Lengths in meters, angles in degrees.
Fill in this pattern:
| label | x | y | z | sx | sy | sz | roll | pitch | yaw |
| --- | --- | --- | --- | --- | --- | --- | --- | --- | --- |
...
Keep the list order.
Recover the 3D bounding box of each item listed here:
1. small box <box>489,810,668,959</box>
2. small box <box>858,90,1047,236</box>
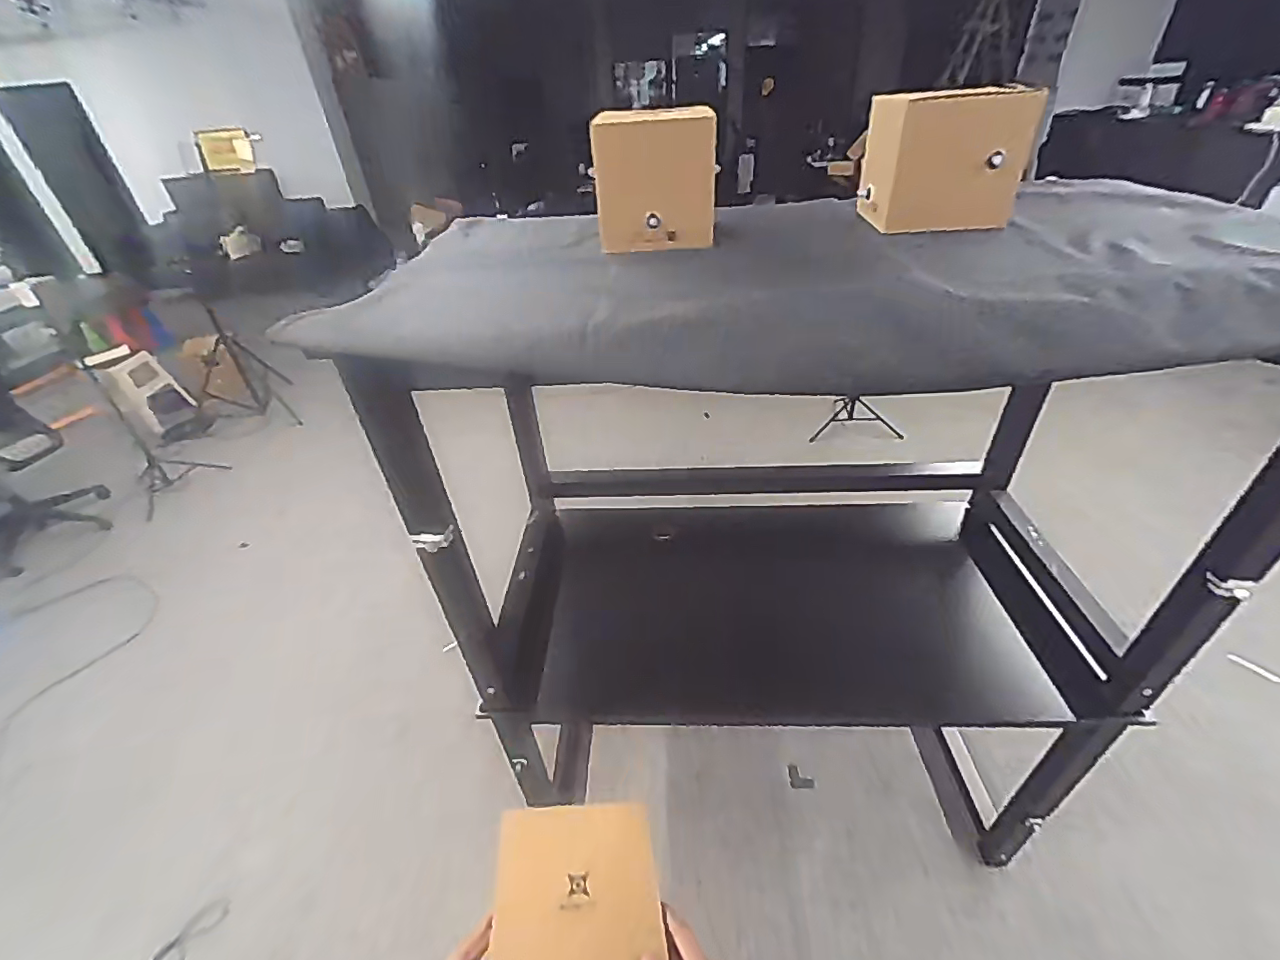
| label | x | y | z | sx | sy | sz | roll | pitch | yaw |
| --- | --- | --- | --- | --- | --- | --- | --- | --- | --- |
| small box | -0.071 | 0.487 | 0.571 | 0.168 | 0.176 | 0.179 | 3 | 25 | -9 |
| small box | 0.445 | -0.472 | 0.805 | 0.179 | 0.176 | 0.168 | 0 | 36 | 6 |
